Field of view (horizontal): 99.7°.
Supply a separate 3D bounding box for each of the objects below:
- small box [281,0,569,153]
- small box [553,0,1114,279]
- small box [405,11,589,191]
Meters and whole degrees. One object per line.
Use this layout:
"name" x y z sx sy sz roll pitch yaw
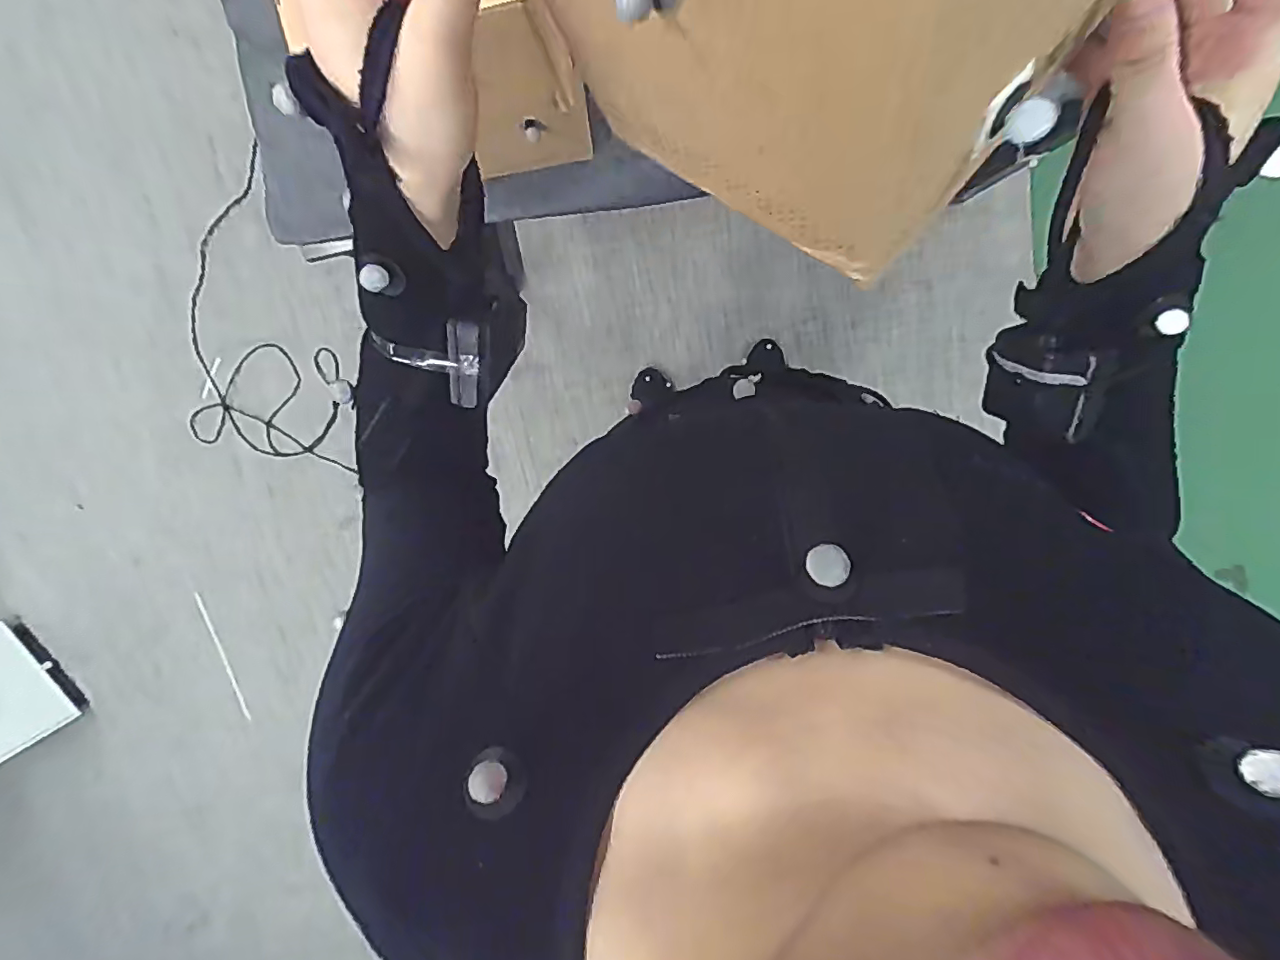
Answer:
"small box" -0.164 -0.396 0.438 0.179 0.176 0.168 -8 102 8
"small box" 0.070 -0.207 0.199 0.179 0.176 0.168 43 101 16
"small box" -0.158 -0.441 0.594 0.179 0.176 0.168 -7 101 7
